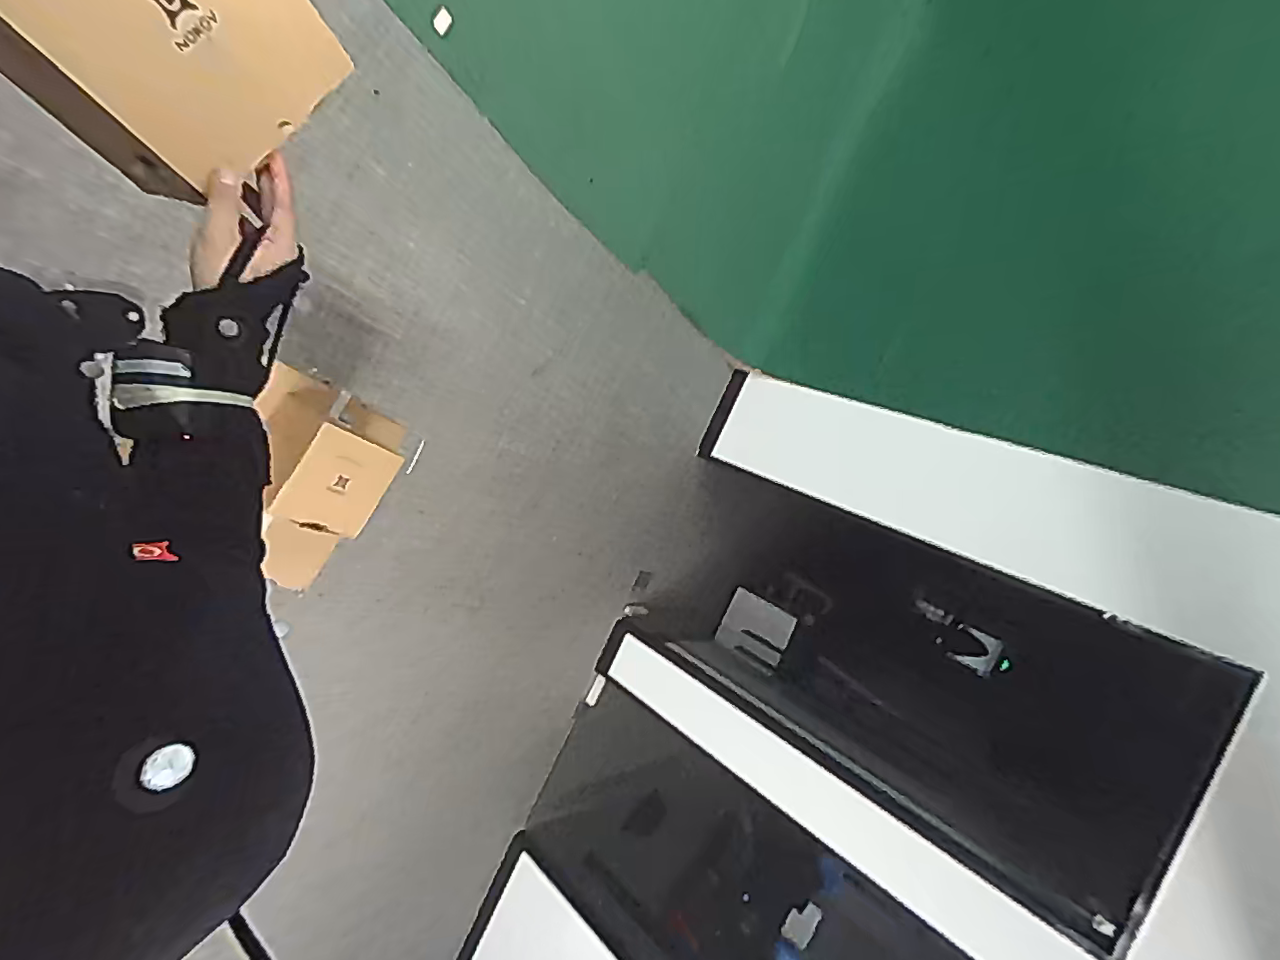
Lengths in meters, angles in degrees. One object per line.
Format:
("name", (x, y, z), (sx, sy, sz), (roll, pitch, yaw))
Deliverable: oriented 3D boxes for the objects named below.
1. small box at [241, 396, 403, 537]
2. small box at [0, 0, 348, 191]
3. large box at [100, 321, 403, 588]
("small box", (-0.577, -0.025, 0.975), (0.179, 0.176, 0.168), (-62, 147, -5))
("small box", (-0.367, -0.340, 0.384), (0.168, 0.176, 0.179), (-59, 150, -13))
("large box", (-0.786, -0.050, 1.114), (0.408, 0.320, 0.320), (-60, 145, -5))
